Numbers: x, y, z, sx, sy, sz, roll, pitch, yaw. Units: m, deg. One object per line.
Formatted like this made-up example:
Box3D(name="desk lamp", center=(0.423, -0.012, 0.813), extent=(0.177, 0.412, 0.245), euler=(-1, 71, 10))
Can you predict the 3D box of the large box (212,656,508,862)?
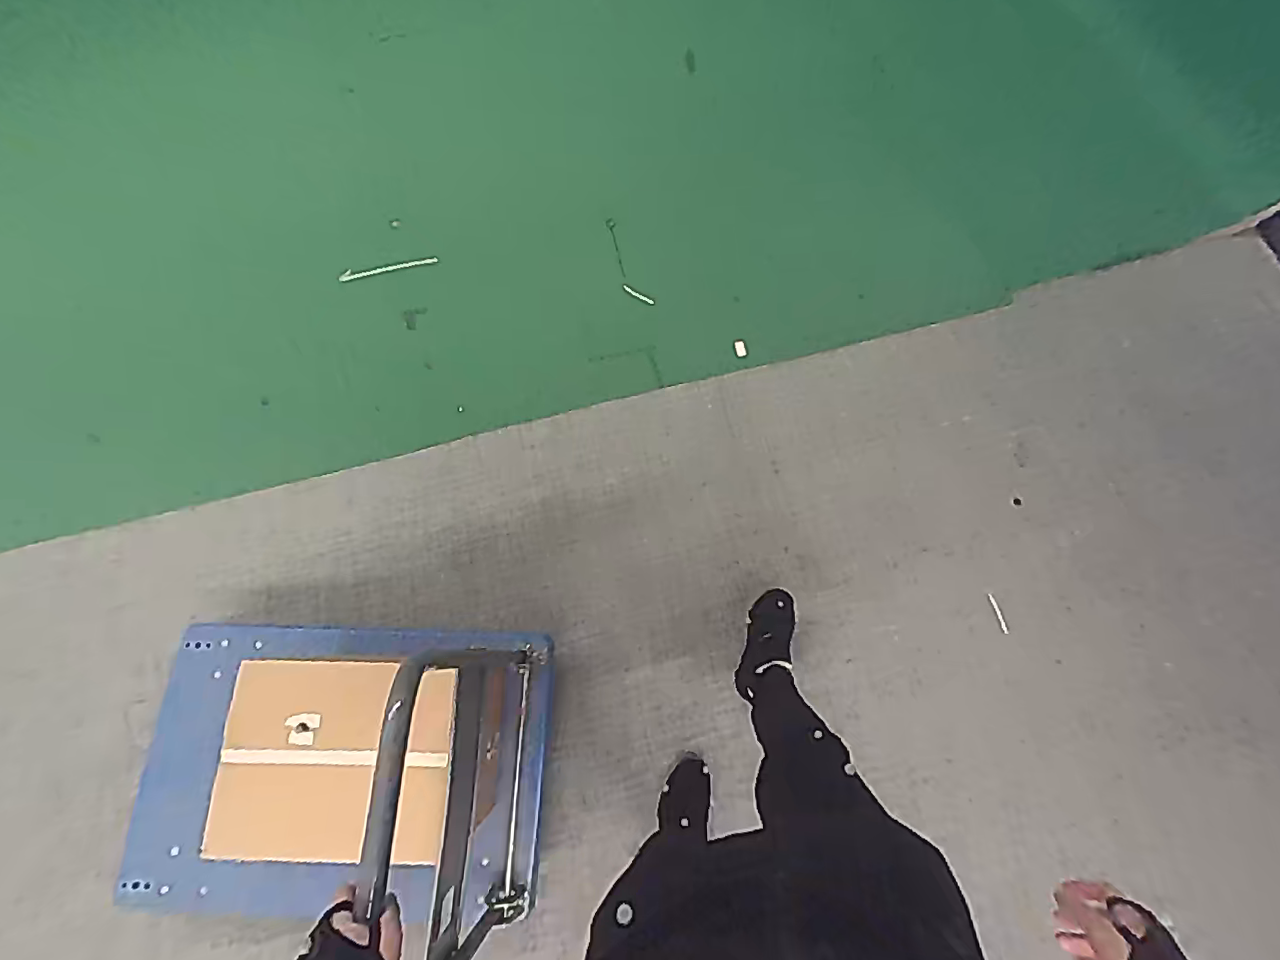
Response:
Box3D(name="large box", center=(-0.501, 0.515, 1.067), extent=(0.408, 0.320, 0.320), euler=(1, 72, 1))
